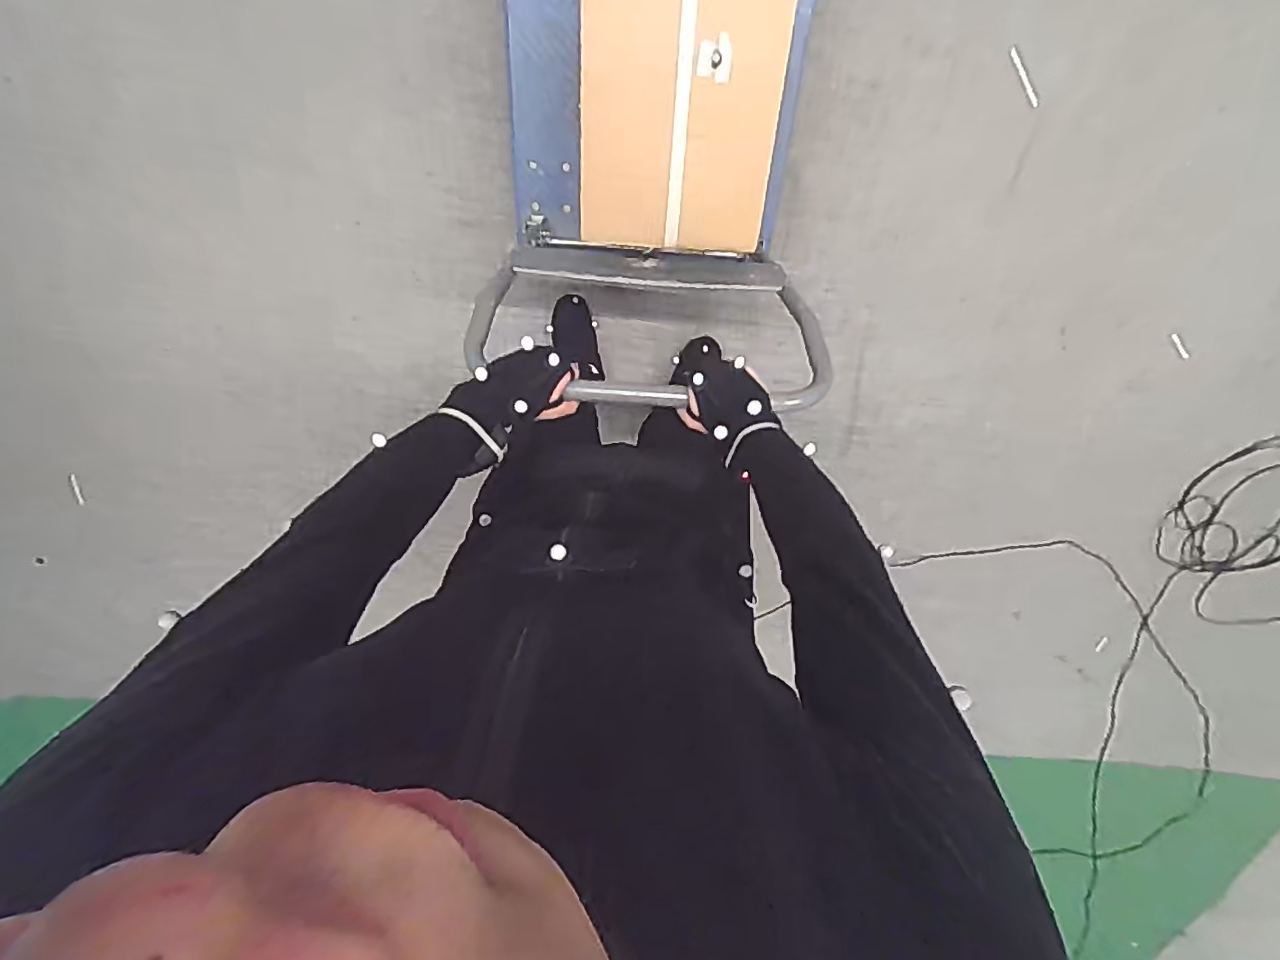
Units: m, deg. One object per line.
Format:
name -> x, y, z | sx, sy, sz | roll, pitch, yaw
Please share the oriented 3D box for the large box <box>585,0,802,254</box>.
large box -> 0.072, -0.645, 0.964 | 0.320, 0.320, 0.408 | 2, 122, -2
